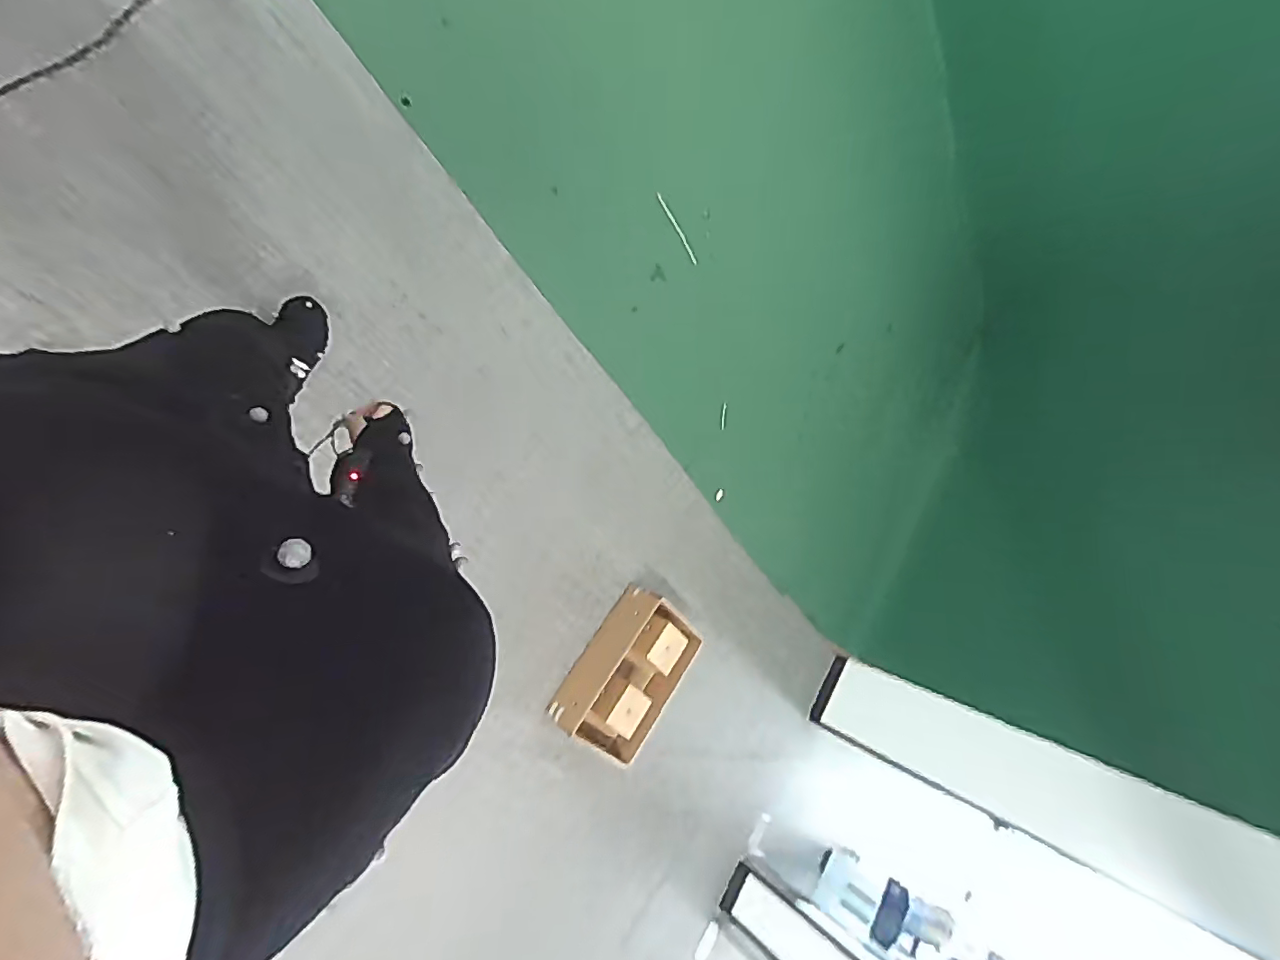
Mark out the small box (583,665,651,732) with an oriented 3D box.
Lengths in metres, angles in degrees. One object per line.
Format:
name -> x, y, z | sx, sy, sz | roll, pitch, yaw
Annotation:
small box -> -0.096, 0.869, 2.163 | 0.168, 0.176, 0.179 | -53, 129, -20

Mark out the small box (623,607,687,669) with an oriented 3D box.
small box -> 0.059, 0.651, 2.254 | 0.168, 0.176, 0.179 | -54, 130, -19
